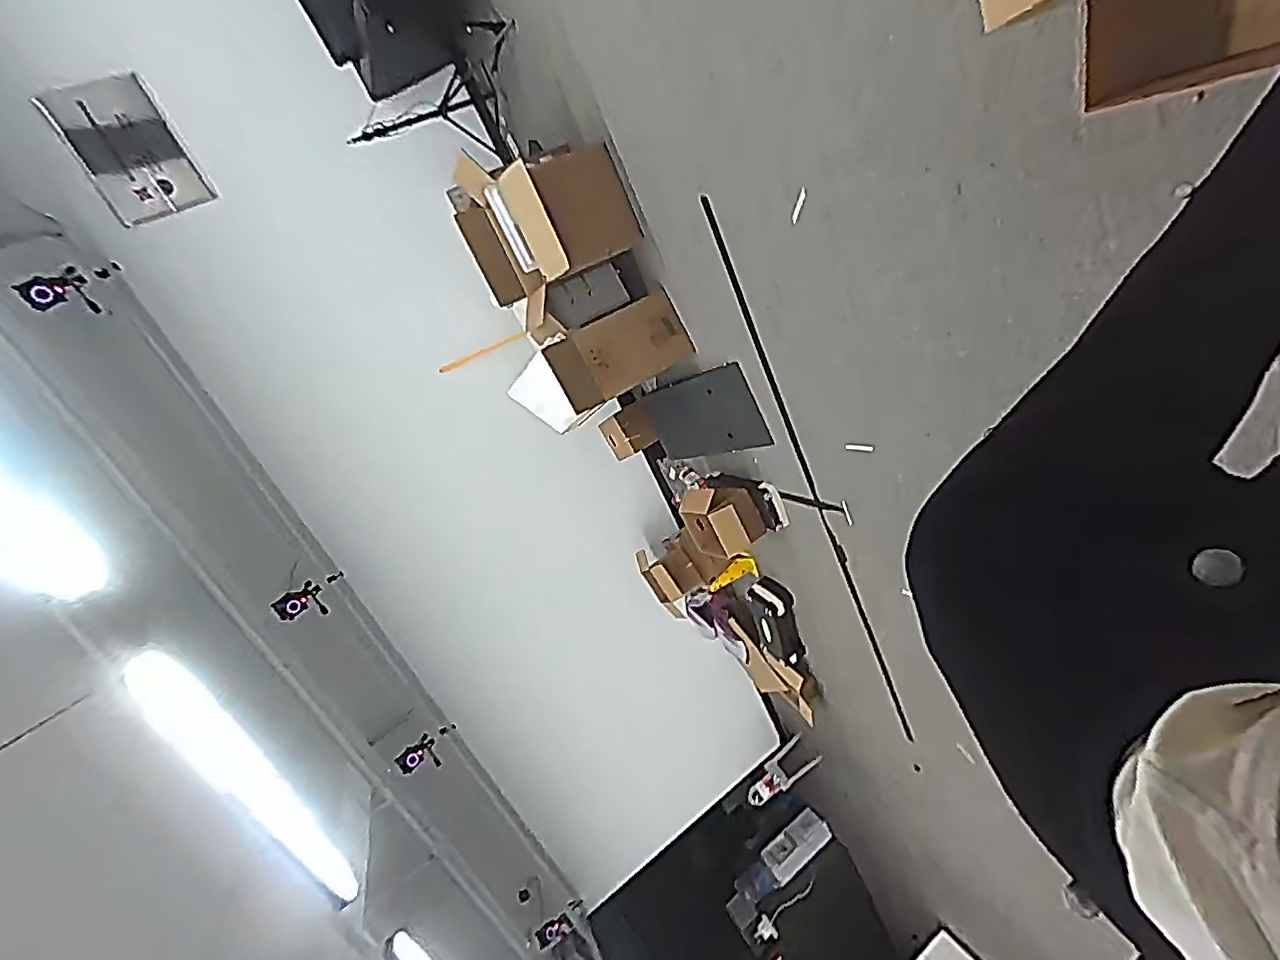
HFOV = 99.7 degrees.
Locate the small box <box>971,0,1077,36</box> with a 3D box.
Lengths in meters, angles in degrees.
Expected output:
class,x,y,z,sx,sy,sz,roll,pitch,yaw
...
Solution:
class,x,y,z,sx,sy,sz,roll,pitch,yaw
small box,0.396,-0.520,0.442,0.179,0.176,0.168,19,137,64
